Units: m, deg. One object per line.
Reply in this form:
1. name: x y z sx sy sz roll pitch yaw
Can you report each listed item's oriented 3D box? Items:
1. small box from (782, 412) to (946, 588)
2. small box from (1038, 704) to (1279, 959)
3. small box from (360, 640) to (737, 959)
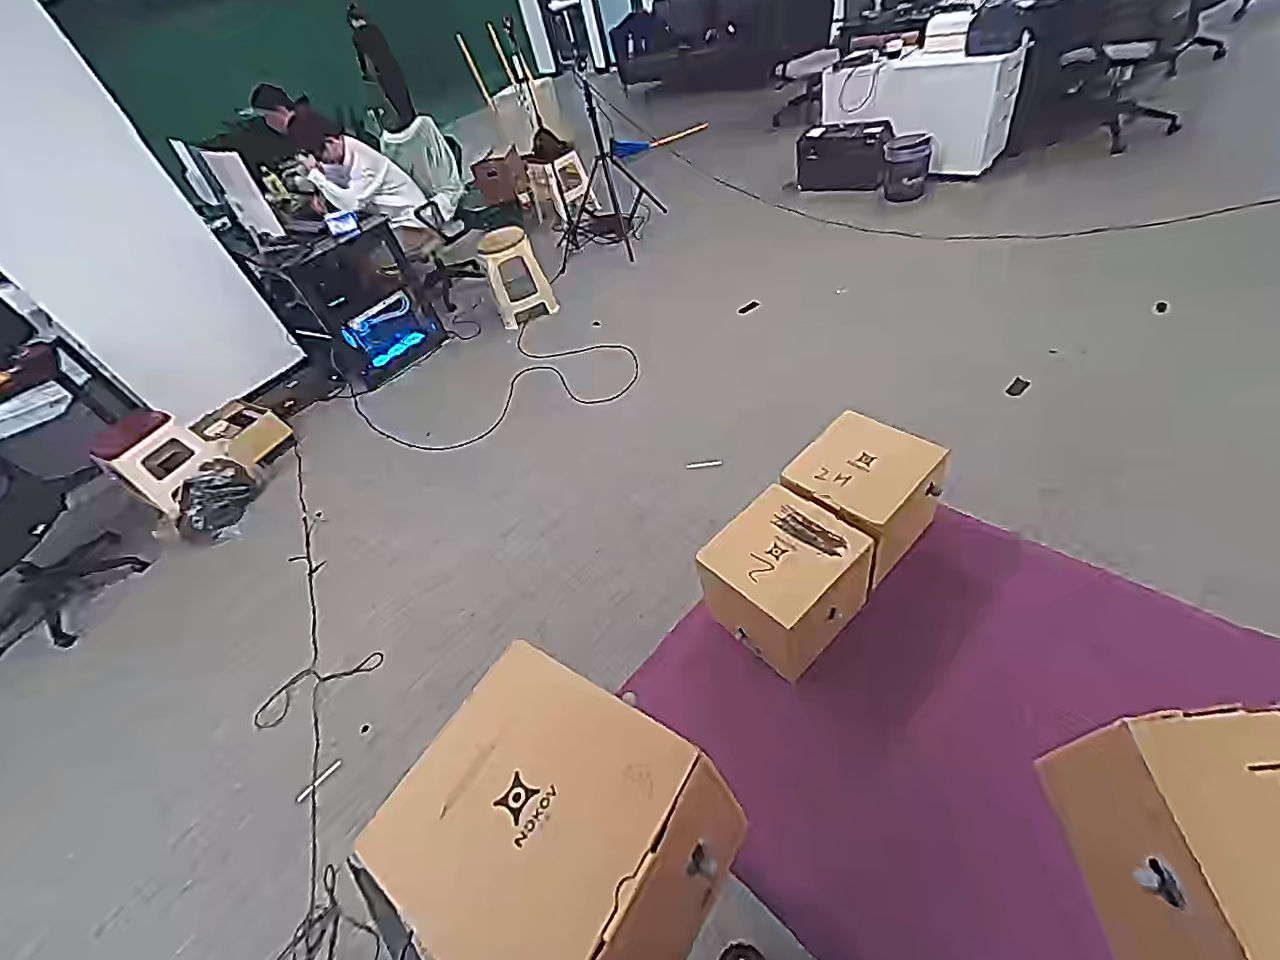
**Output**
1. small box: 0.341 0.031 0.848 0.179 0.176 0.168 -40 49 -20
2. small box: 0.375 0.238 0.311 0.168 0.176 0.179 -11 54 11
3. small box: -0.048 0.254 0.392 0.179 0.176 0.168 16 55 35
